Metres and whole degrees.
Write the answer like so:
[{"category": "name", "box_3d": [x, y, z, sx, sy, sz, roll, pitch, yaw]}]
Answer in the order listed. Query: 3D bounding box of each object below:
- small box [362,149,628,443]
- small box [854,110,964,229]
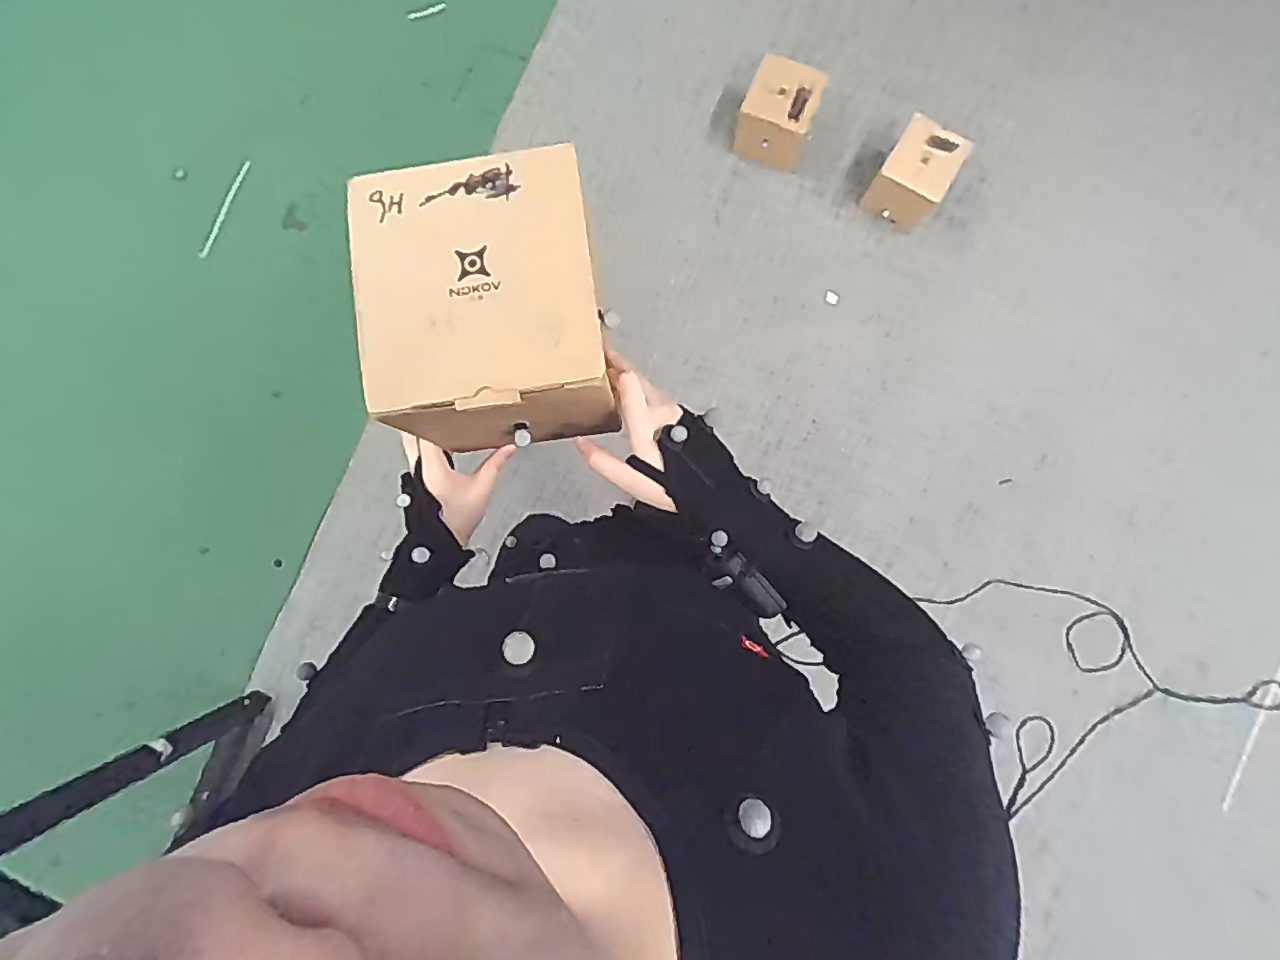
[{"category": "small box", "box_3d": [-0.103, -0.130, 0.453, 0.168, 0.176, 0.179, -8, 85, 0]}, {"category": "small box", "box_3d": [0.691, -0.801, 1.413, 0.168, 0.176, 0.179, 30, 91, 2]}]
